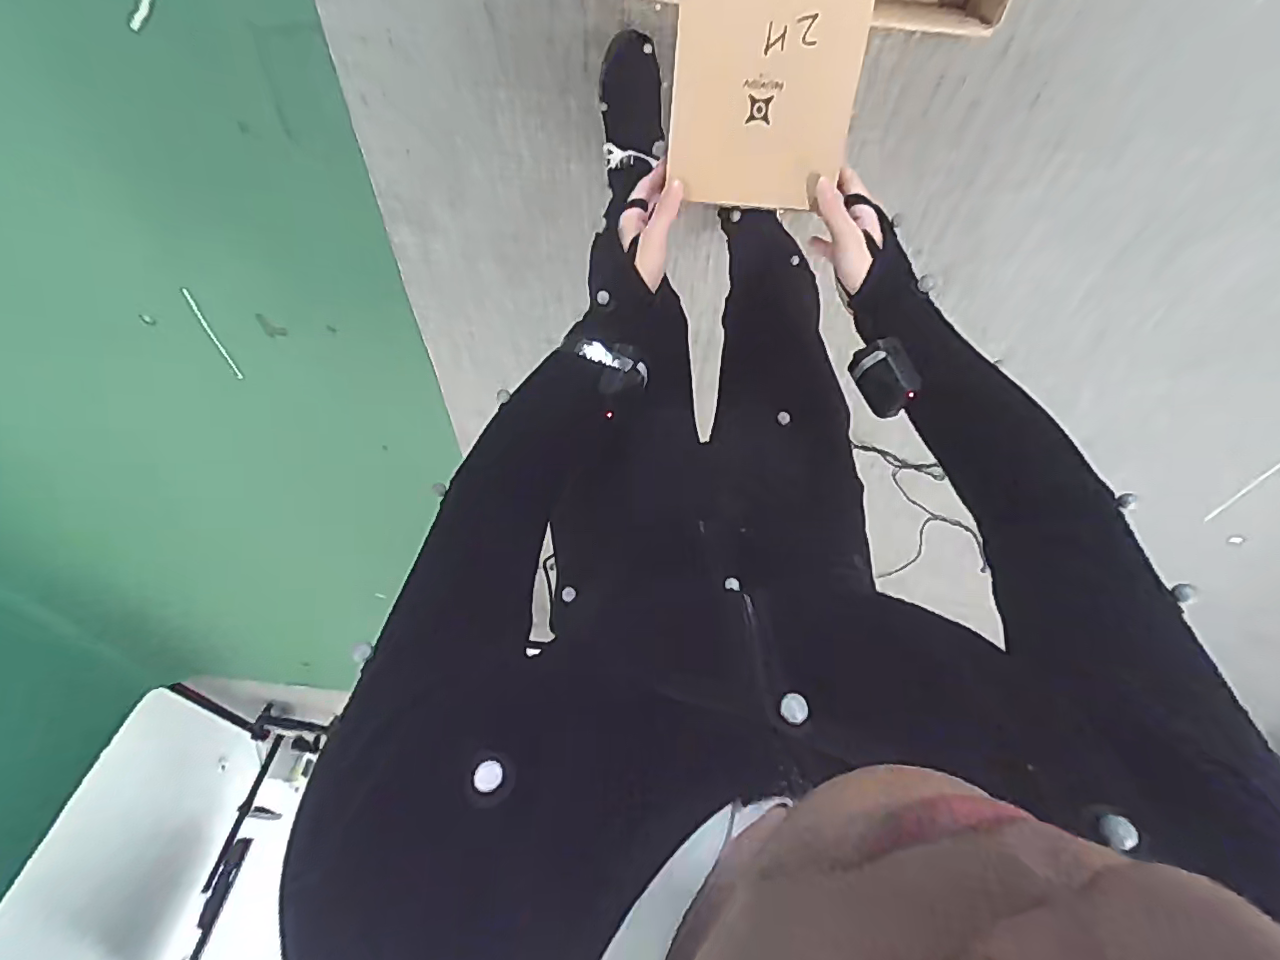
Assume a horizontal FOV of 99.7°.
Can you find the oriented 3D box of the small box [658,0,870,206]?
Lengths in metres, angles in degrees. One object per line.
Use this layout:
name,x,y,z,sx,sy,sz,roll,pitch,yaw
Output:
small box,0.114,-0.387,0.557,0.168,0.176,0.179,7,117,2
